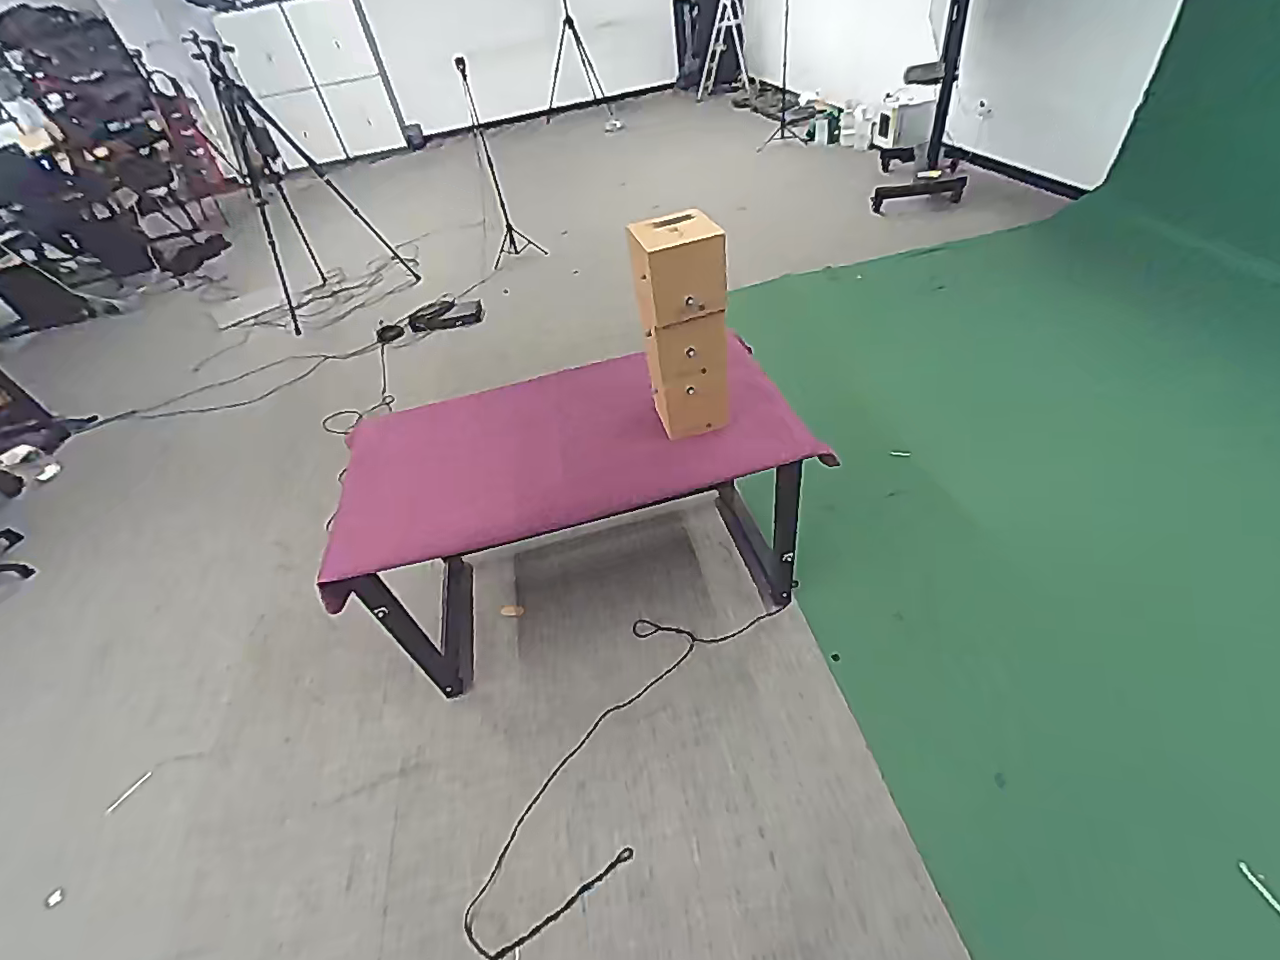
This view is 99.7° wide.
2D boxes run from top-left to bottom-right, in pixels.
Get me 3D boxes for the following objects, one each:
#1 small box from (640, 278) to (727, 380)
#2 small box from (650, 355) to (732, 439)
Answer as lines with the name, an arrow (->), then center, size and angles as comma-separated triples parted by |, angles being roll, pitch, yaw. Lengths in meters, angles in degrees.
small box -> 0.107, -0.355, 1.297 | 0.168, 0.176, 0.179 | -14, 43, -3
small box -> 0.133, -0.235, 1.409 | 0.168, 0.176, 0.179 | -16, 42, -3
